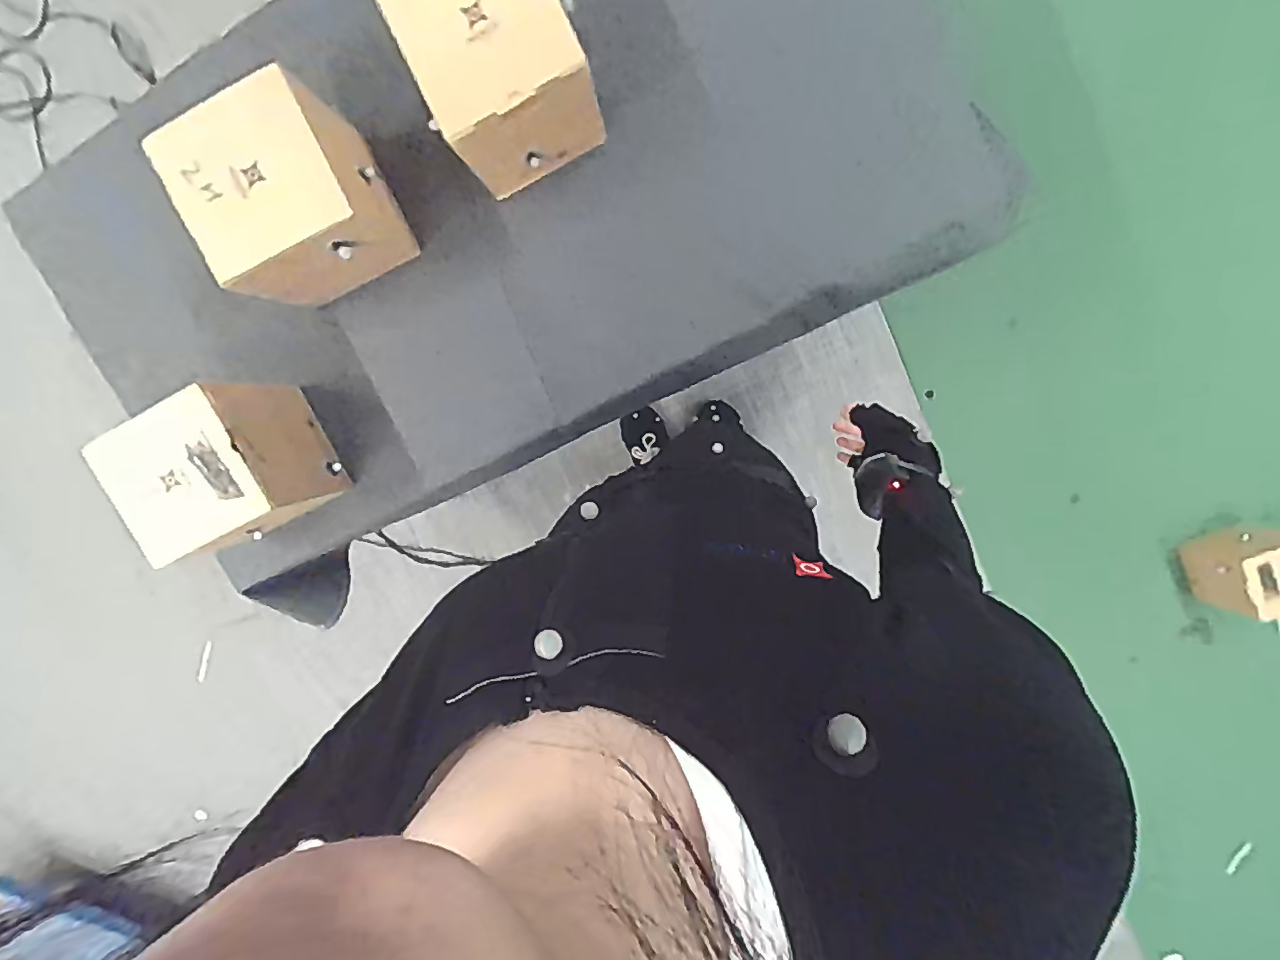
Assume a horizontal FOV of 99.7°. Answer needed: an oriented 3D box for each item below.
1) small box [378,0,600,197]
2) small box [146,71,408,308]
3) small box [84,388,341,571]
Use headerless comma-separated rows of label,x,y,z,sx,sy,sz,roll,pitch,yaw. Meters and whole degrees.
small box,-0.160,-0.471,0.625,0.168,0.176,0.179,-26,97,6
small box,-0.411,-0.329,0.654,0.179,0.176,0.168,-24,97,6
small box,-0.531,-0.010,0.707,0.179,0.176,0.168,-26,96,6
